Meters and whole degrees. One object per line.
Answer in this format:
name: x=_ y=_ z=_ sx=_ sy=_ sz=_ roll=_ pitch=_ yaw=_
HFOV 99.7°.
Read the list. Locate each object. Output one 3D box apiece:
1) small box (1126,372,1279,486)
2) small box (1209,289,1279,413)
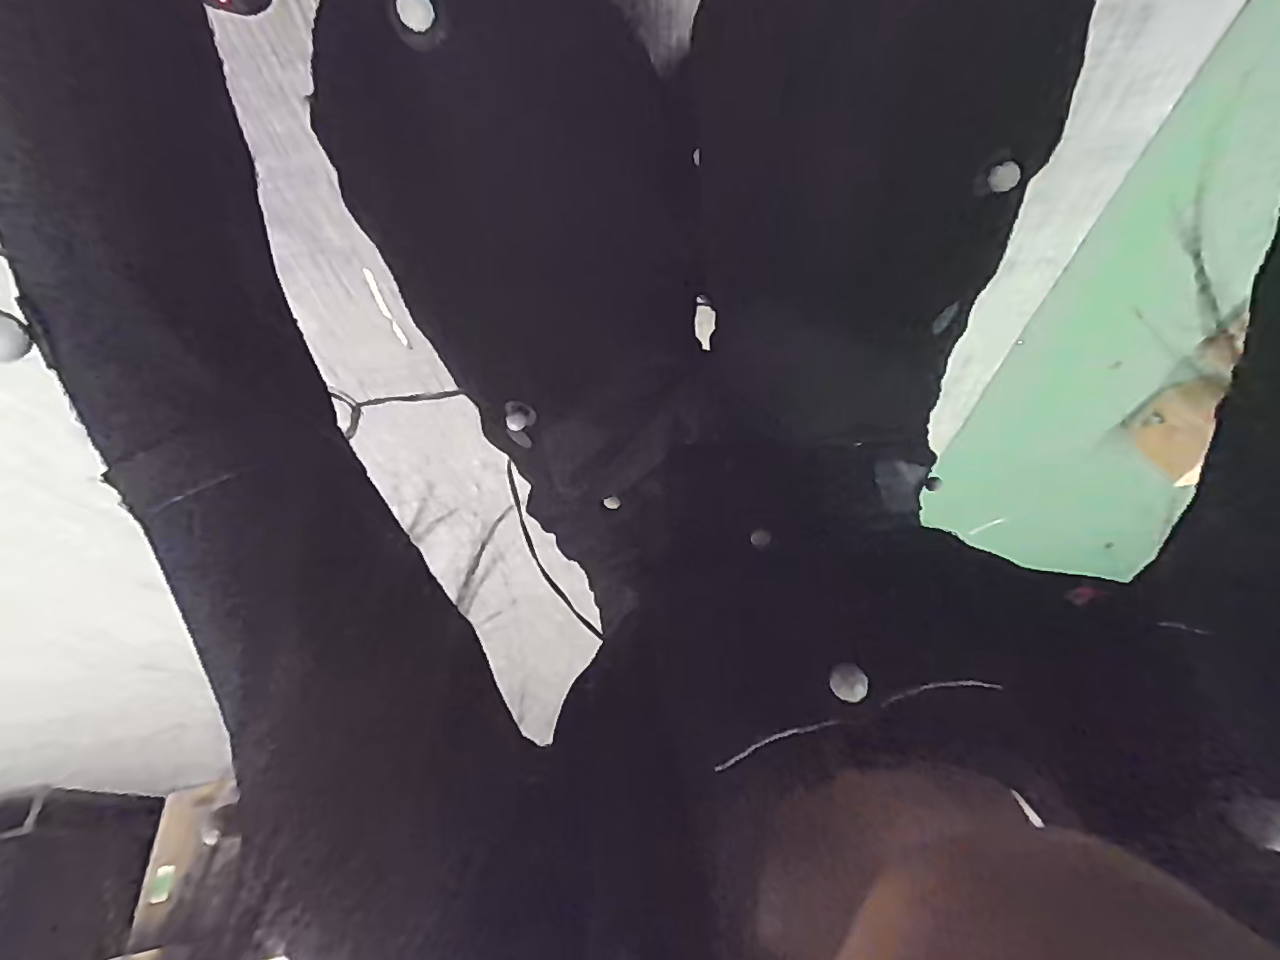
small box: x=1.233 y=-0.114 z=1.171 sx=0.179 sy=0.176 sz=0.168 roll=-13 pitch=146 yaw=1
small box: x=1.207 y=-0.249 z=0.964 sx=0.179 sy=0.176 sz=0.168 roll=-12 pitch=147 yaw=-2
